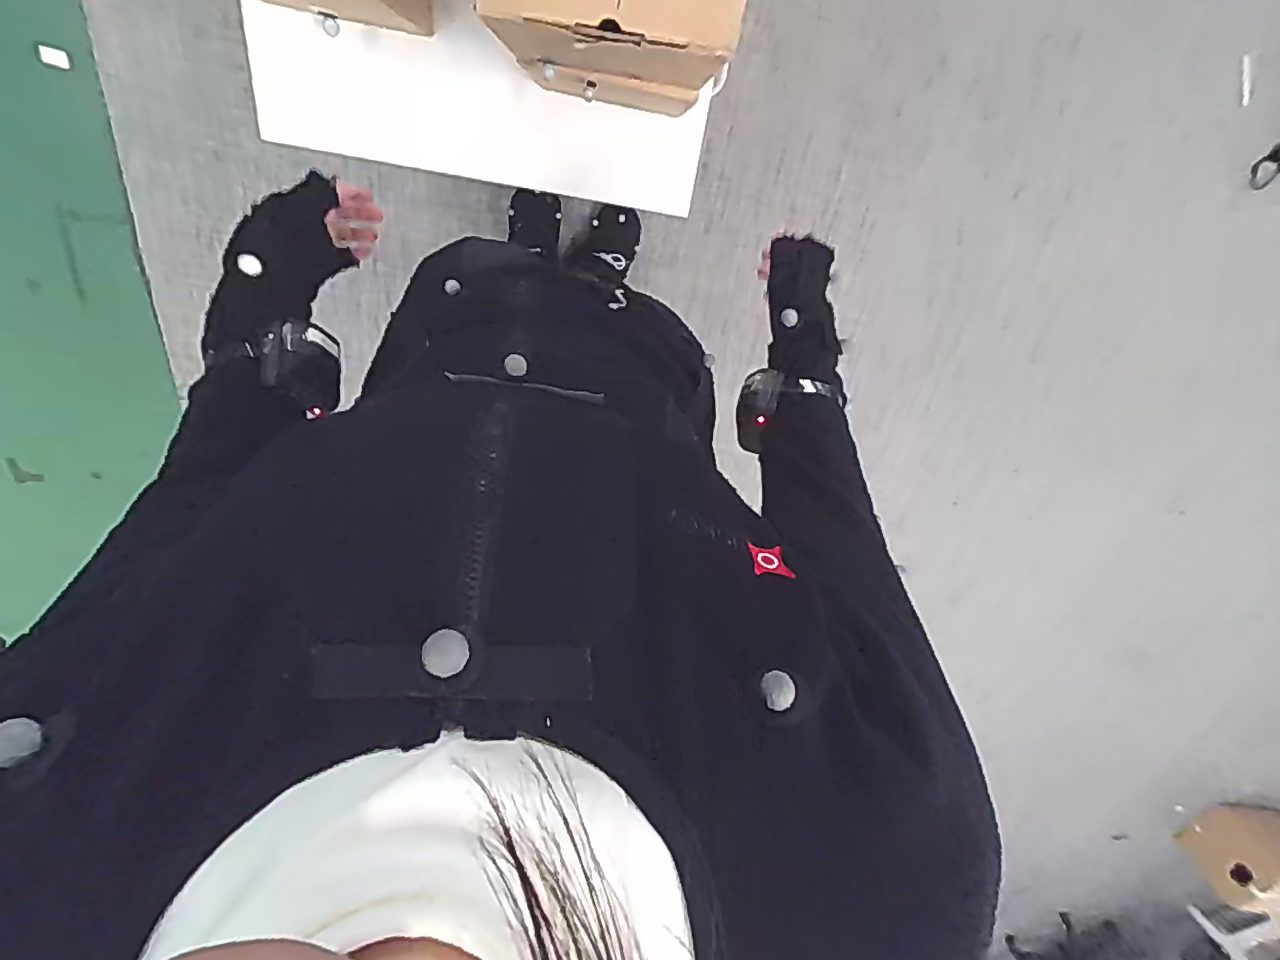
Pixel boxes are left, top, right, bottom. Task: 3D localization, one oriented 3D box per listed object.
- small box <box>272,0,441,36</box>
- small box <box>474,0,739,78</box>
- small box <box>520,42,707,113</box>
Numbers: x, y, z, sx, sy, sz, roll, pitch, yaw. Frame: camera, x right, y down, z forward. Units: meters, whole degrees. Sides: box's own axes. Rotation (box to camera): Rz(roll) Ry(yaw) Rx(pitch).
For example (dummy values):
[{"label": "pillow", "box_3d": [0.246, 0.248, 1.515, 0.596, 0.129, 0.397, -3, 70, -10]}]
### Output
[{"label": "small box", "box_3d": [-0.282, -0.523, 0.470, 0.168, 0.176, 0.179, 6, 122, -5]}, {"label": "small box", "box_3d": [-0.012, -0.393, 0.362, 0.168, 0.176, 0.179, 5, 120, -4]}, {"label": "small box", "box_3d": [-0.012, -0.470, 0.508, 0.168, 0.176, 0.179, 8, 119, -6]}]
